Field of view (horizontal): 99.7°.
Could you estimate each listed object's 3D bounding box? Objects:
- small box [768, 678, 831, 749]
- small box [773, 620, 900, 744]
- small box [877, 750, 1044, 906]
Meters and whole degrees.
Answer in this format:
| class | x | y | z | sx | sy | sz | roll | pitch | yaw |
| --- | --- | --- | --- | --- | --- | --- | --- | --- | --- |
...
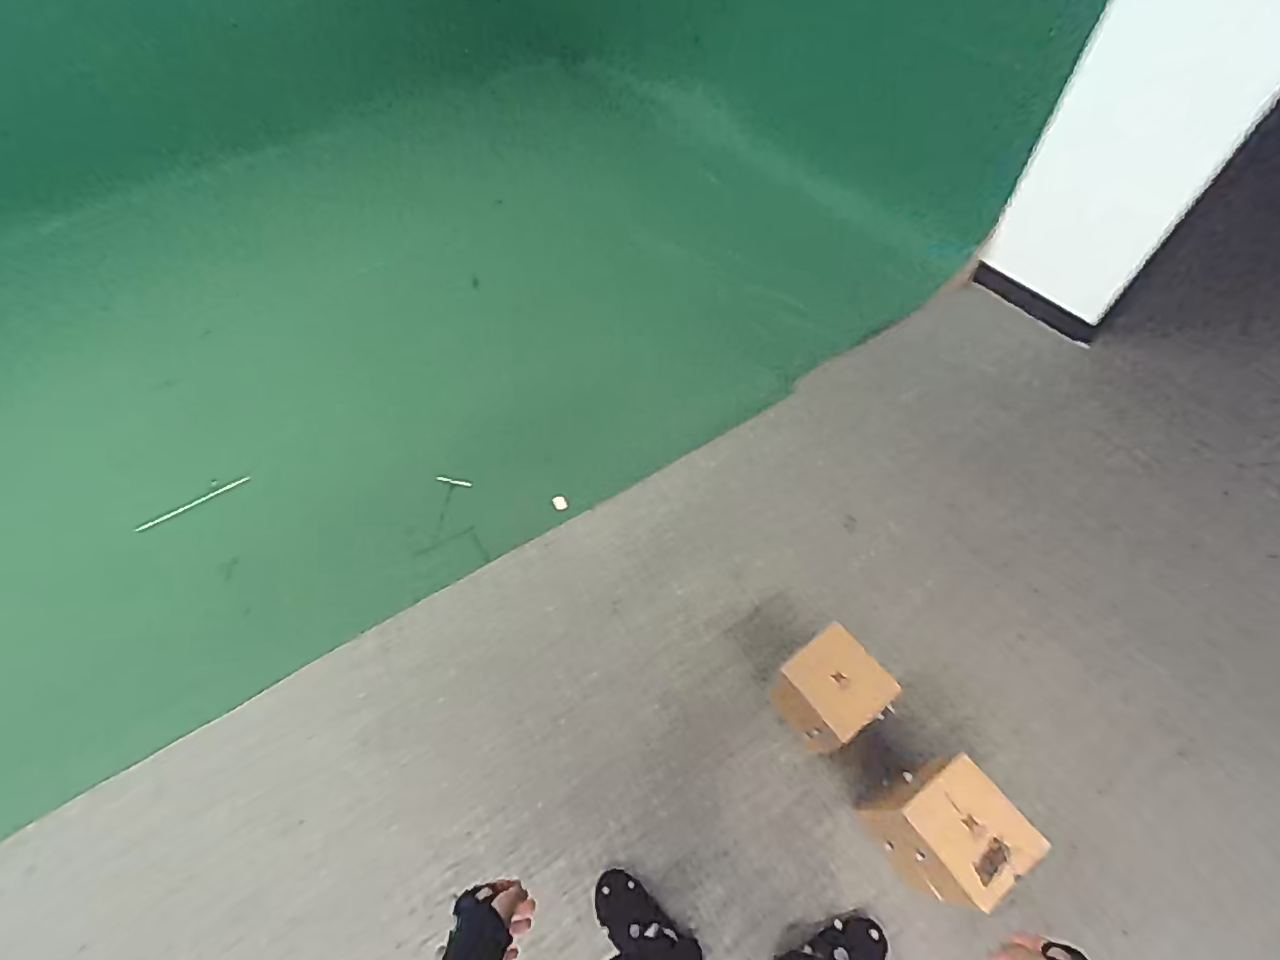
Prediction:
| class | x | y | z | sx | sy | sz | roll | pitch | yaw |
| --- | --- | --- | --- | --- | --- | --- | --- | --- | --- |
| small box | 0.427 | 0.517 | 1.290 | 0.168 | 0.176 | 0.179 | -33 | 59 | -15 |
| small box | 0.406 | 0.436 | 1.149 | 0.168 | 0.176 | 0.179 | -32 | 58 | -15 |
| small box | 0.578 | 0.635 | 1.001 | 0.168 | 0.176 | 0.179 | -31 | 58 | -14 |
